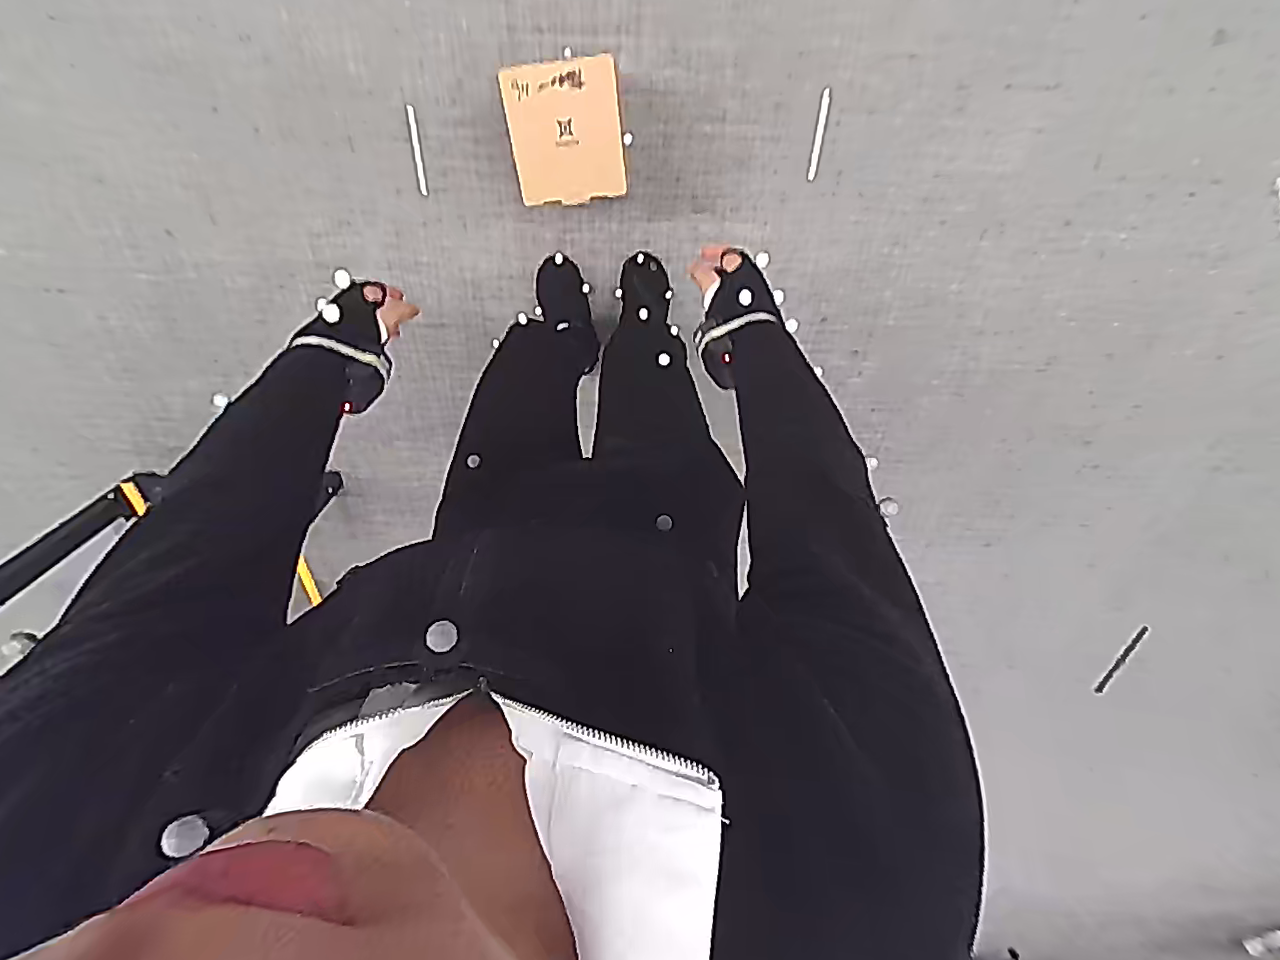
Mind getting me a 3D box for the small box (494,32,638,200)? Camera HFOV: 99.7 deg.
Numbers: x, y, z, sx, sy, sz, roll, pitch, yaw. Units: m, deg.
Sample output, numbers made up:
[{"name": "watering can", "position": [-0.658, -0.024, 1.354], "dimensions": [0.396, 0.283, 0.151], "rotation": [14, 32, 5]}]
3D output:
[{"name": "small box", "position": [-0.092, -0.521, 0.781], "dimensions": [0.168, 0.176, 0.179], "rotation": [-5, 124, 3]}]
